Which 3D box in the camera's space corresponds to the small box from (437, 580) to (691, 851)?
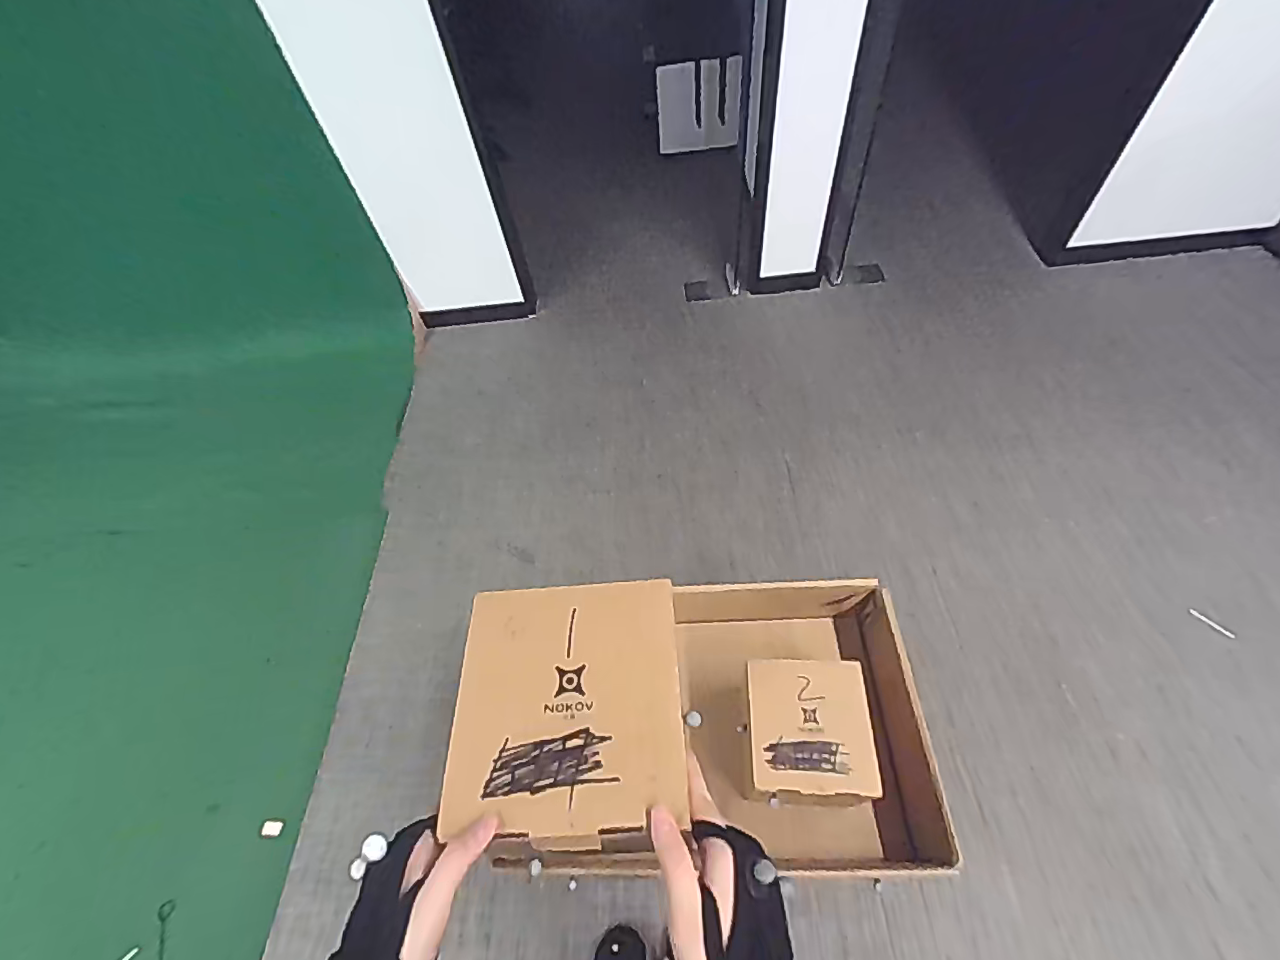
[{"bbox_3d":[-0.047,0.206,0.461,0.168,0.176,0.179,-5,51,3],"label":"small box"}]
